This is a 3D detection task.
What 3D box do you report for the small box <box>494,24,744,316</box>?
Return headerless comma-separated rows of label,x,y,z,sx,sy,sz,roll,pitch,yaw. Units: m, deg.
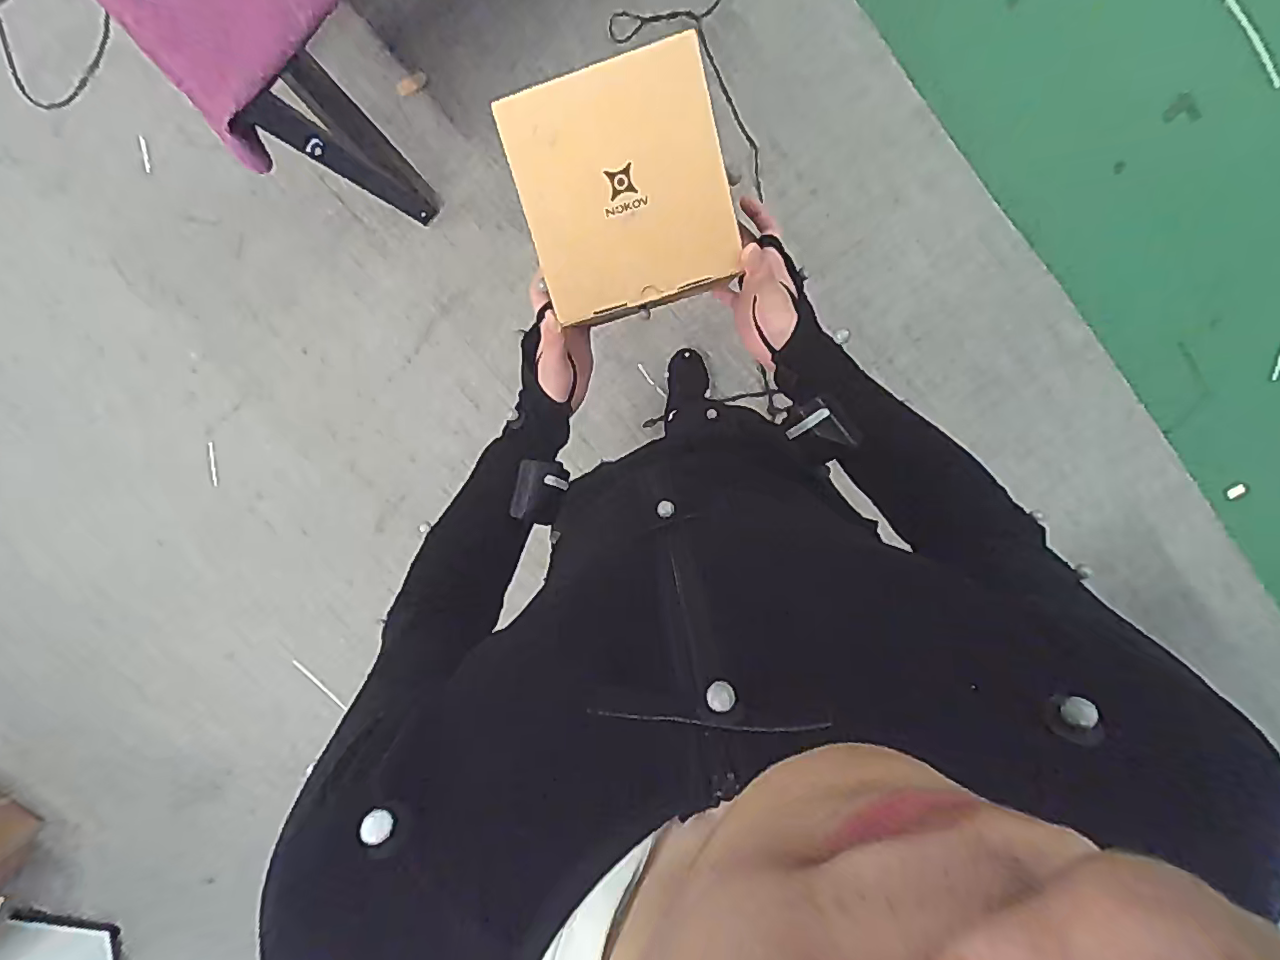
small box,-0.011,-0.260,0.505,0.168,0.176,0.179,-15,106,7
